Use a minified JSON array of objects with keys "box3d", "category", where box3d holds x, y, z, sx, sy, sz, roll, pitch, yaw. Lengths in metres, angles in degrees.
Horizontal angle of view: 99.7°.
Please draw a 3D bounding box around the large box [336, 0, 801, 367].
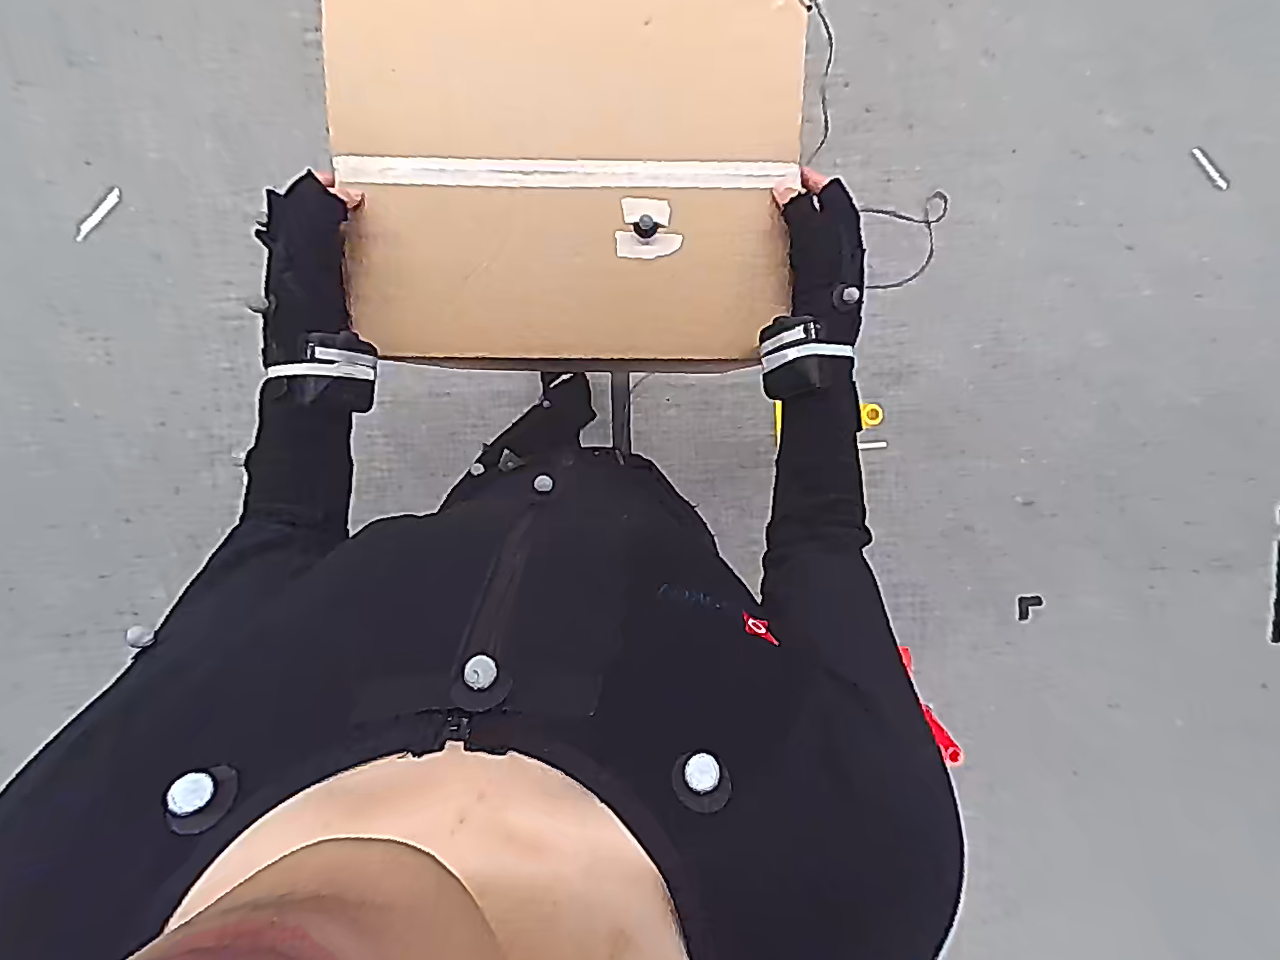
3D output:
[{"box3d":[-0.065,-0.300,0.627,0.408,0.320,0.320,0,100,-2],"category":"large box"}]
